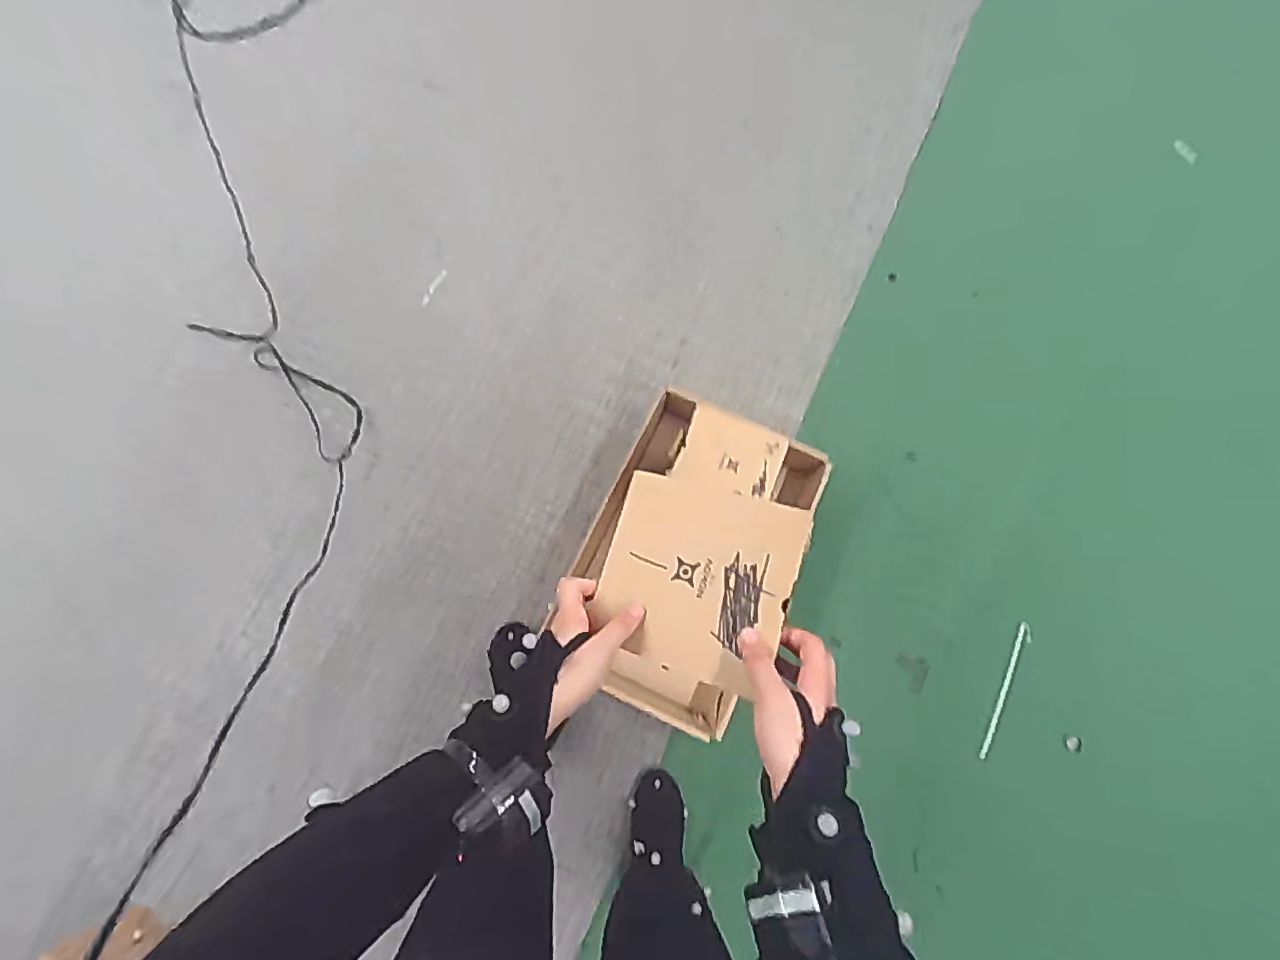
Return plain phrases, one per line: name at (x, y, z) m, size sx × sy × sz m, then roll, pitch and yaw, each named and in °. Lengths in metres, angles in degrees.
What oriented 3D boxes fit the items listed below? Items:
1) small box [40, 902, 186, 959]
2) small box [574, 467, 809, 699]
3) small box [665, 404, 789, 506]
small box at (-1.012, 0.949, 1.000) m, size 0.168 × 0.176 × 0.179 m, roll 30°, pitch 79°, yaw 4°
small box at (0.058, 0.102, 0.564) m, size 0.179 × 0.176 × 0.168 m, roll 17°, pitch 81°, yaw 13°
small box at (0.148, -0.013, 1.003) m, size 0.179 × 0.176 × 0.168 m, roll 22°, pitch 79°, yaw 5°
